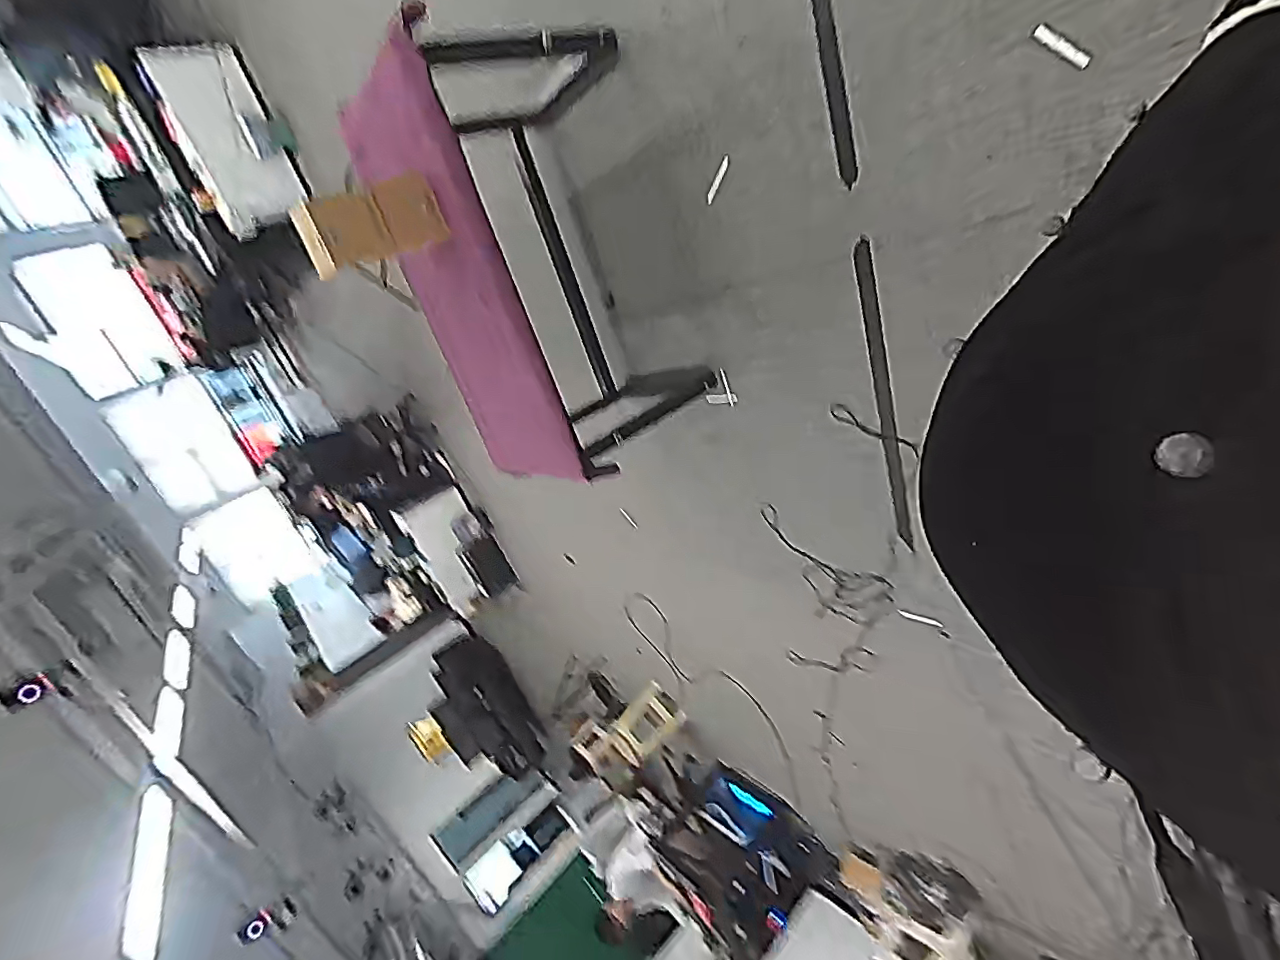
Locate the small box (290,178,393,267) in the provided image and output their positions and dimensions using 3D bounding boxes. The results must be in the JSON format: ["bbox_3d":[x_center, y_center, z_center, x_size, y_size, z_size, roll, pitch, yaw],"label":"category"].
[{"bbox_3d":[-0.776,-0.670,1.415,0.179,0.176,0.168,15,131,48],"label":"small box"}]

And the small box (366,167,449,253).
[{"bbox_3d":[-0.663,-0.748,1.504,0.179,0.176,0.168,12,128,48],"label":"small box"}]
